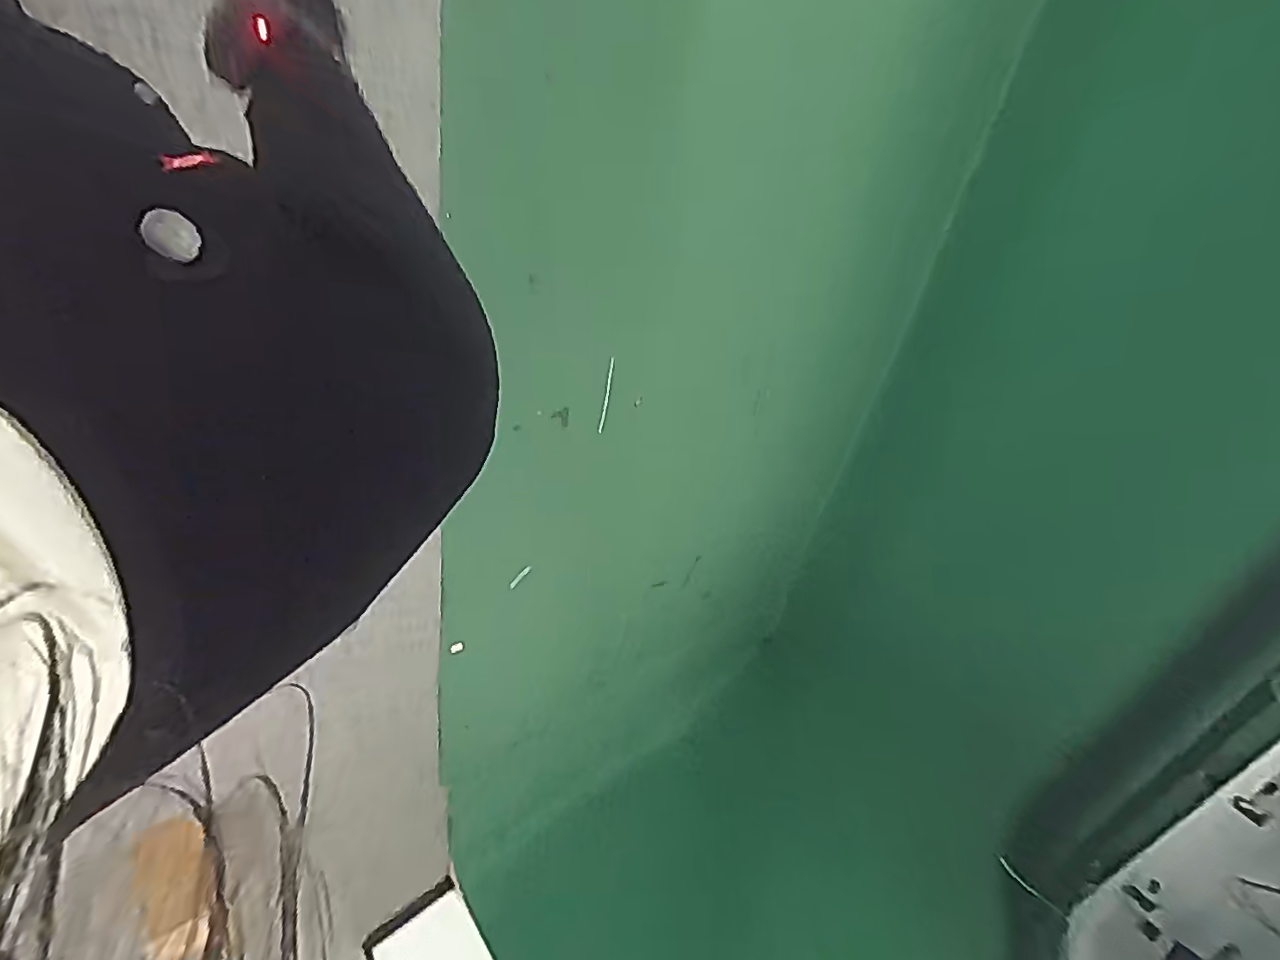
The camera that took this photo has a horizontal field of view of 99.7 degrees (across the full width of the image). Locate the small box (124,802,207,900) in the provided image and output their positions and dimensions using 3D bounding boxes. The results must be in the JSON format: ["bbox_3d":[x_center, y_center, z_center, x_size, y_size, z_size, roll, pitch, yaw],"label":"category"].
[{"bbox_3d":[-1.450,1.146,1.660,0.179,0.176,0.168,-16,131,-44],"label":"small box"}]

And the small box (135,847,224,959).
[{"bbox_3d":[-1.338,1.227,1.571,0.179,0.176,0.168,-12,128,-44],"label":"small box"}]
